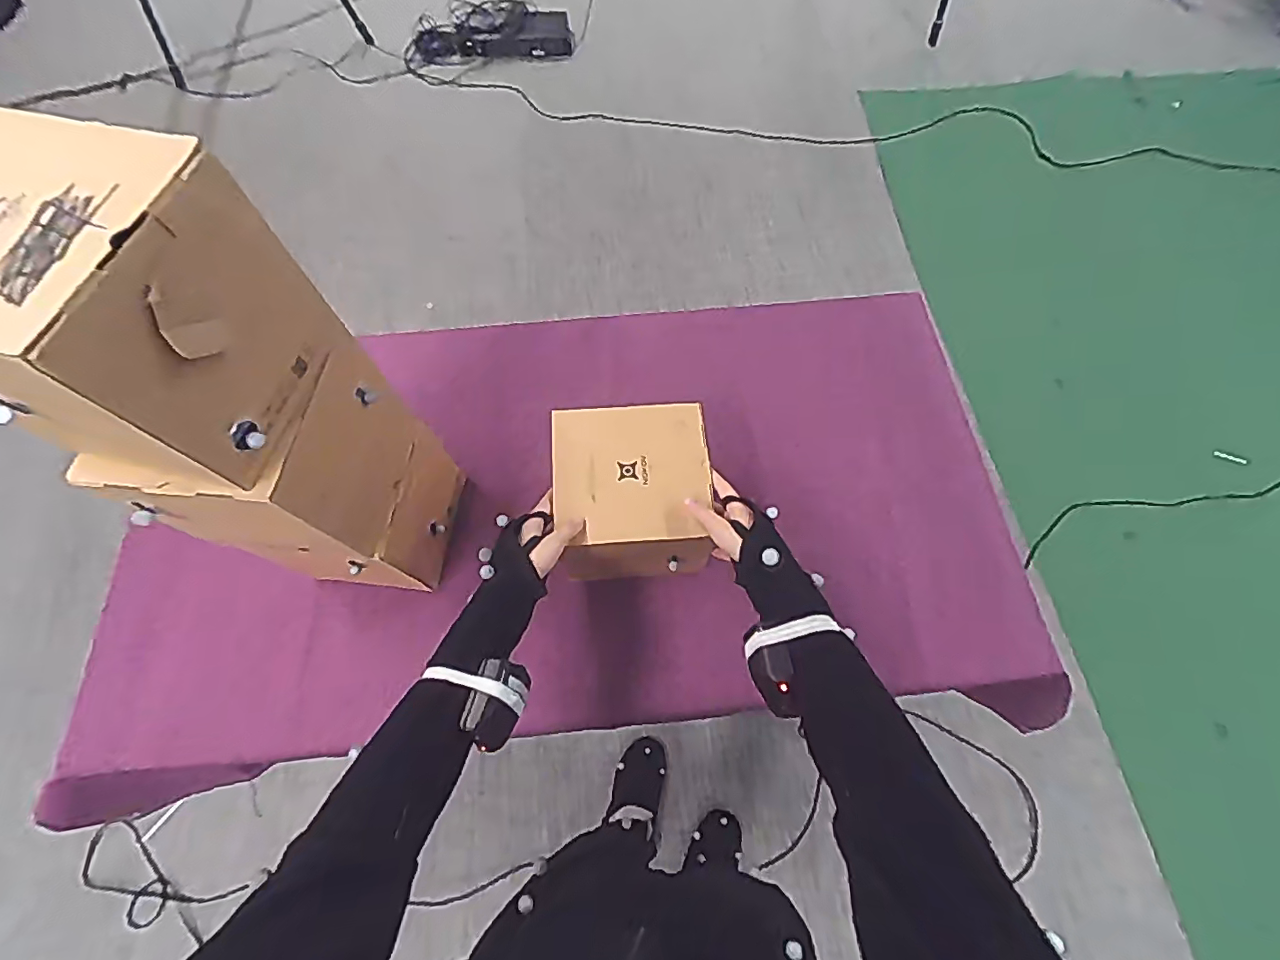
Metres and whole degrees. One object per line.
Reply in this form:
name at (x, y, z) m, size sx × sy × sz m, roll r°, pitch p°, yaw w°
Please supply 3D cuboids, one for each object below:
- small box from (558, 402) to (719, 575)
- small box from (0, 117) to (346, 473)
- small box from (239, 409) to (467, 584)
small box at (-0.007, 0.017, 0.683) m, size 0.179 × 0.176 × 0.168 m, roll -4°, pitch 66°, yaw -2°
small box at (-0.359, -0.120, 0.395) m, size 0.179 × 0.176 × 0.168 m, roll 11°, pitch 66°, yaw 6°
small box at (-0.344, 0.028, 0.689) m, size 0.179 × 0.176 × 0.168 m, roll 6°, pitch 66°, yaw 2°
